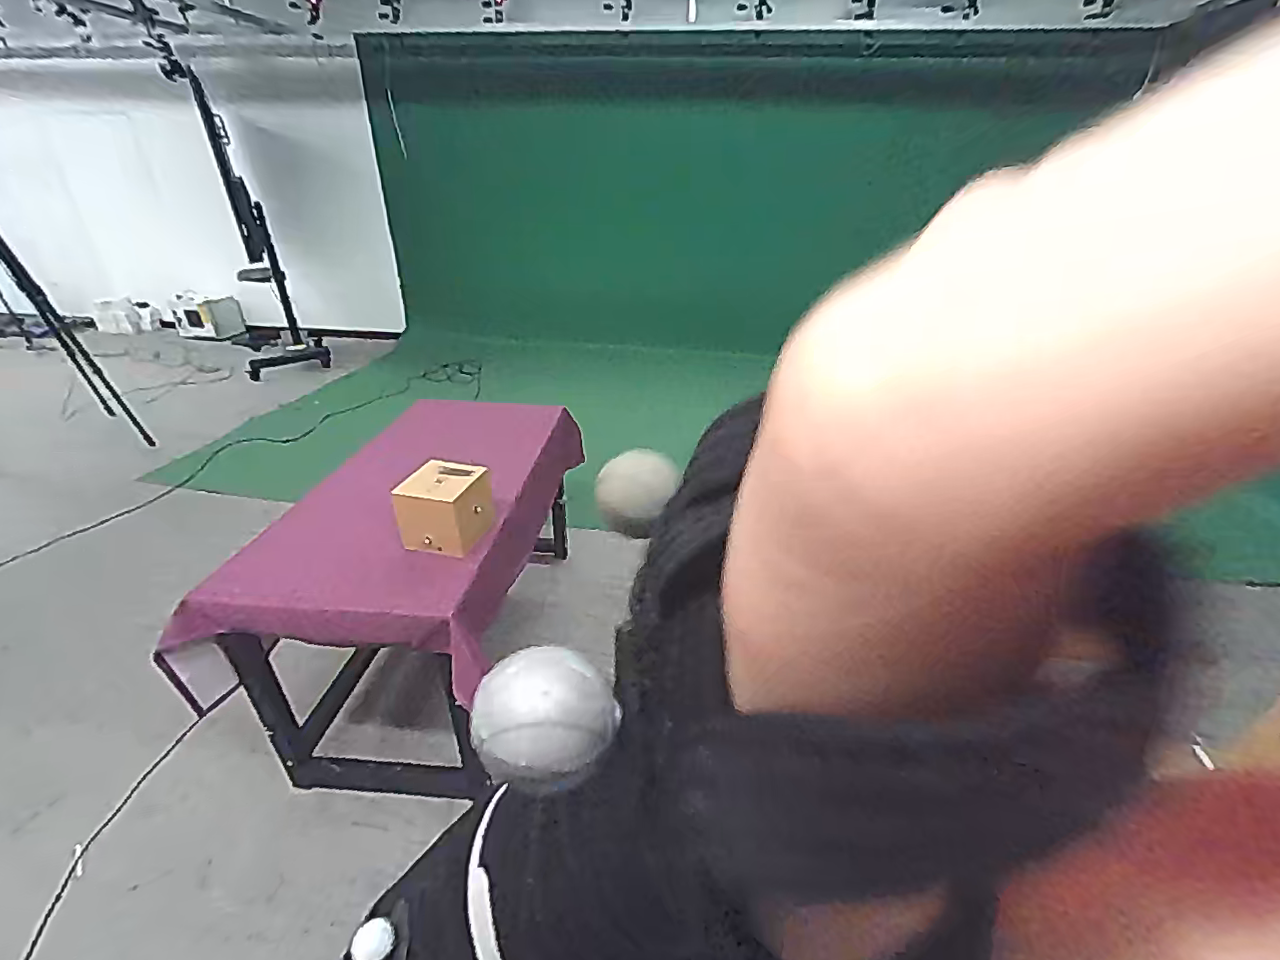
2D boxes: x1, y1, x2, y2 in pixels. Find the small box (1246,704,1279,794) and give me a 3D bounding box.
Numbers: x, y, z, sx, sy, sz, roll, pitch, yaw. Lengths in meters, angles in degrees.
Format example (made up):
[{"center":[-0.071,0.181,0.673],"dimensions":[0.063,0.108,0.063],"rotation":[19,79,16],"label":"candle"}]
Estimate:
[{"center":[1.402,0.576,1.079],"dimensions":[0.168,0.176,0.179],"rotation":[12,29,14],"label":"small box"}]
